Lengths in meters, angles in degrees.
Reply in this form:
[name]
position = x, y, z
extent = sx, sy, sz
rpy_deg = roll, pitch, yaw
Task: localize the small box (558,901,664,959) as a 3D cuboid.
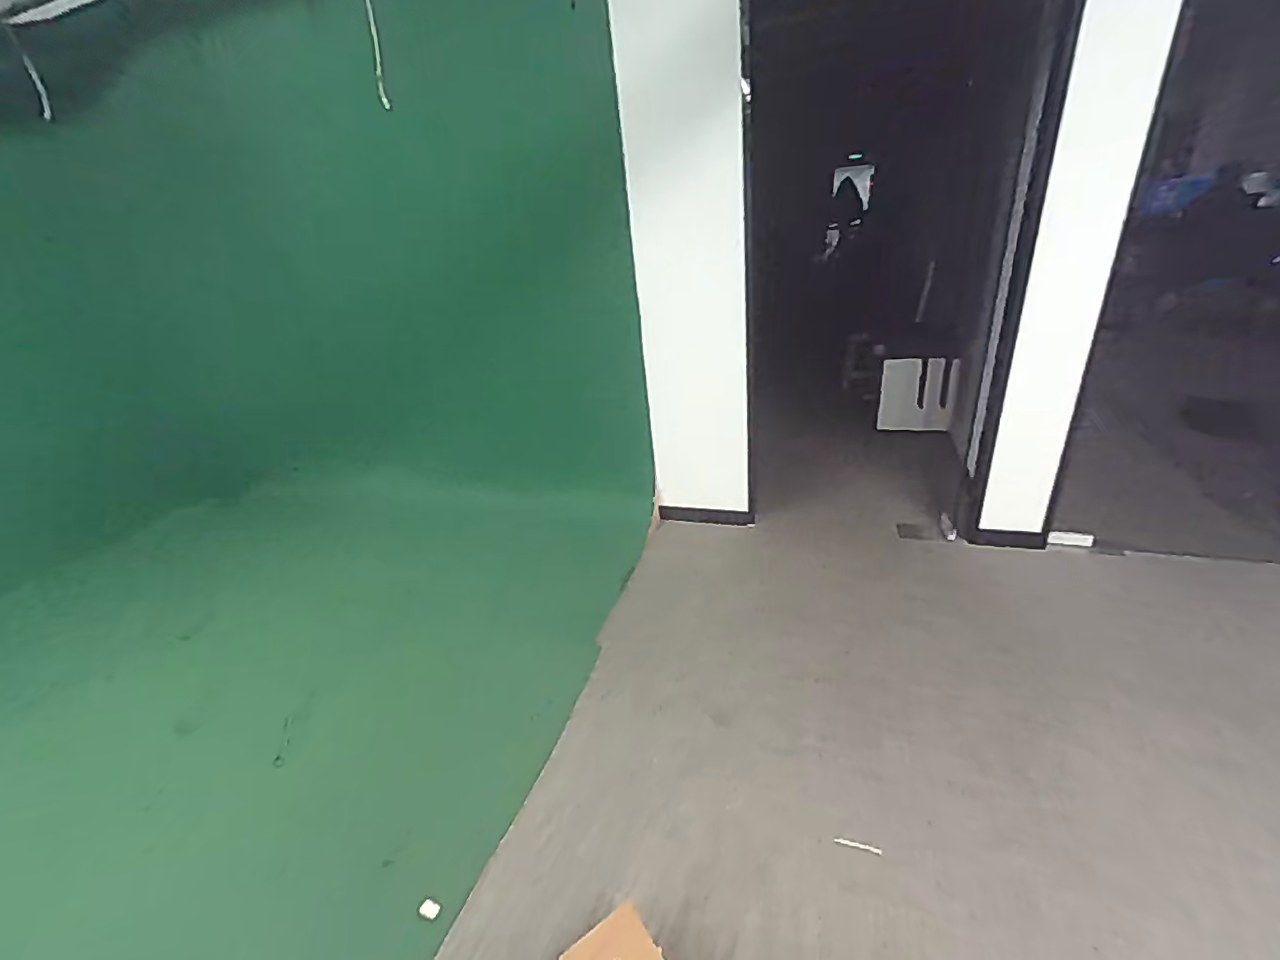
[small box]
position = -0.036, 0.988, 1.044
extent = 0.168, 0.176, 0.179
rpy_deg = -21, 29, -29
